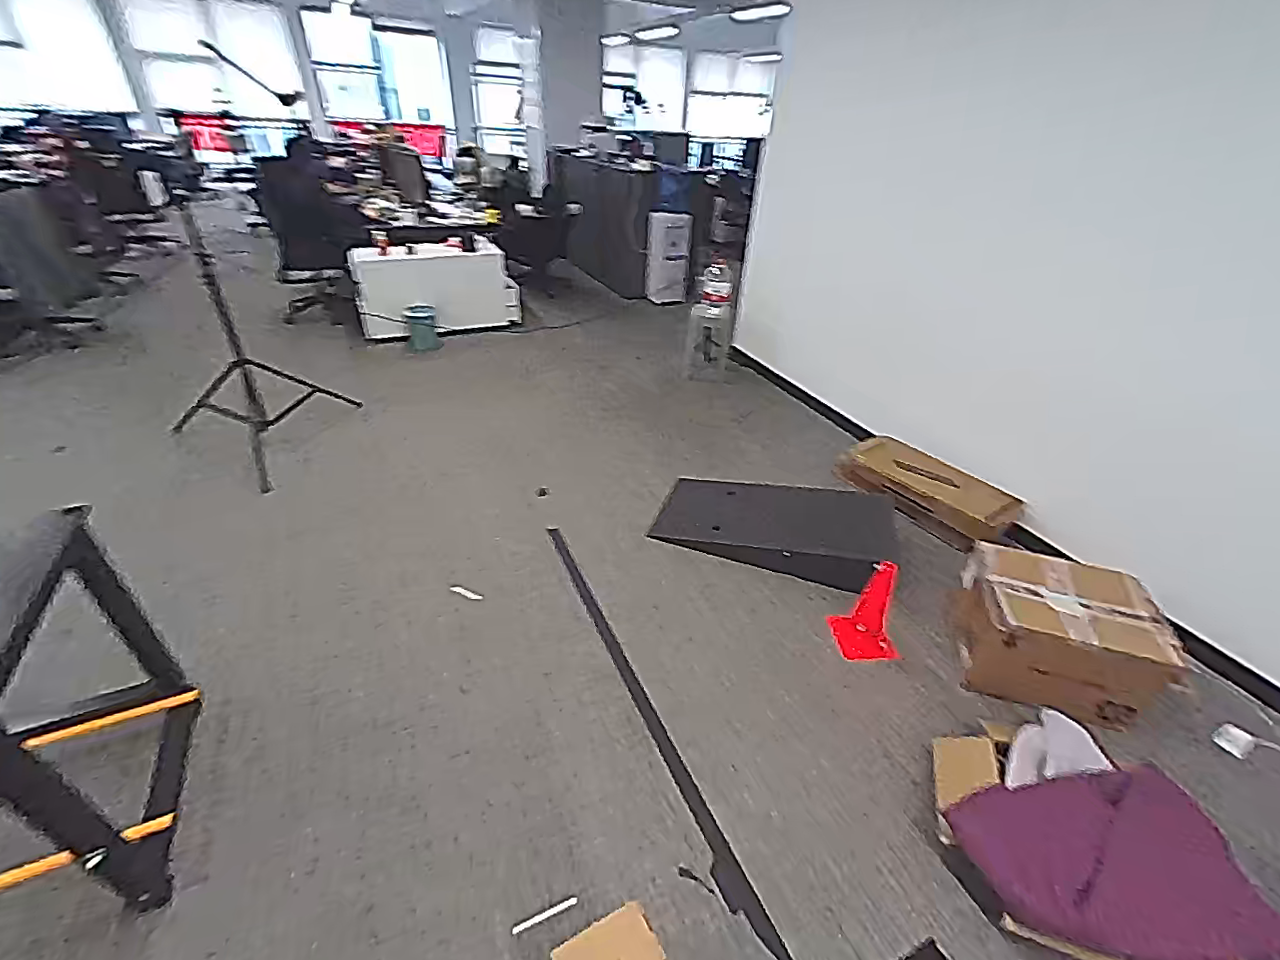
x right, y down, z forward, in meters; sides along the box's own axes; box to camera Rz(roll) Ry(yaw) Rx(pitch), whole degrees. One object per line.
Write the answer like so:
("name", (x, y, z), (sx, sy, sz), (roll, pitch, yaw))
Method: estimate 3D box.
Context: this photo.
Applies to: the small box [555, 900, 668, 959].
("small box", (-0.039, 0.914, 0.967), (0.179, 0.176, 0.168), (-17, 37, -24))
